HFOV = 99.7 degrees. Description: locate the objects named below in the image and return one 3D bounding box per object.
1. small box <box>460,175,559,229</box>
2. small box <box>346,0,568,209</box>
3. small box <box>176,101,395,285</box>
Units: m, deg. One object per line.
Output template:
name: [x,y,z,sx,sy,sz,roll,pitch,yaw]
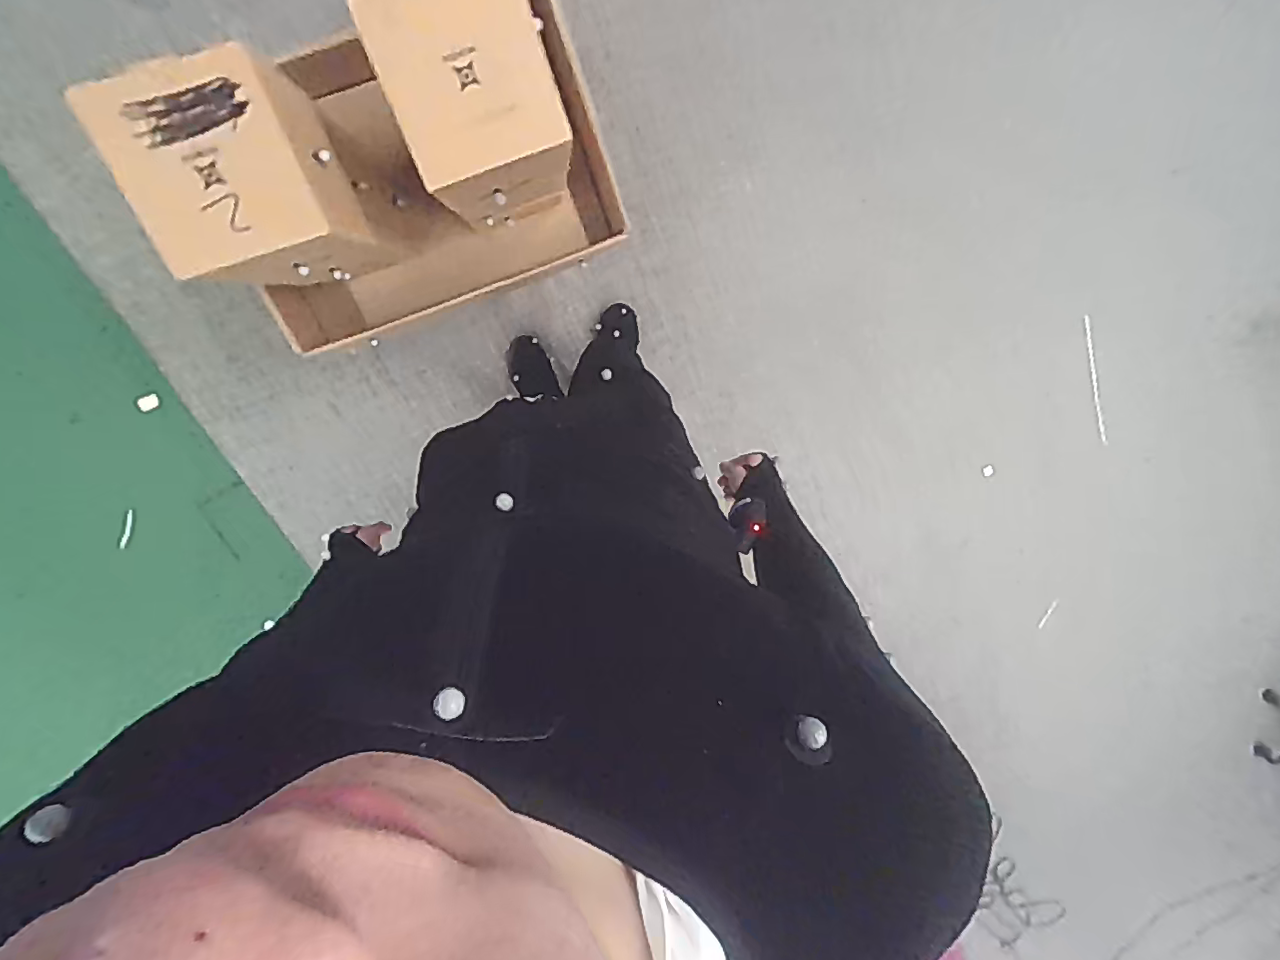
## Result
small box: [-0.243,-0.543,0.920,0.168,0.176,0.179,-21,111,-2]
small box: [-0.191,-0.435,0.616,0.168,0.176,0.179,-20,112,-2]
small box: [-0.472,-0.387,0.758,0.168,0.176,0.179,-20,111,-4]
